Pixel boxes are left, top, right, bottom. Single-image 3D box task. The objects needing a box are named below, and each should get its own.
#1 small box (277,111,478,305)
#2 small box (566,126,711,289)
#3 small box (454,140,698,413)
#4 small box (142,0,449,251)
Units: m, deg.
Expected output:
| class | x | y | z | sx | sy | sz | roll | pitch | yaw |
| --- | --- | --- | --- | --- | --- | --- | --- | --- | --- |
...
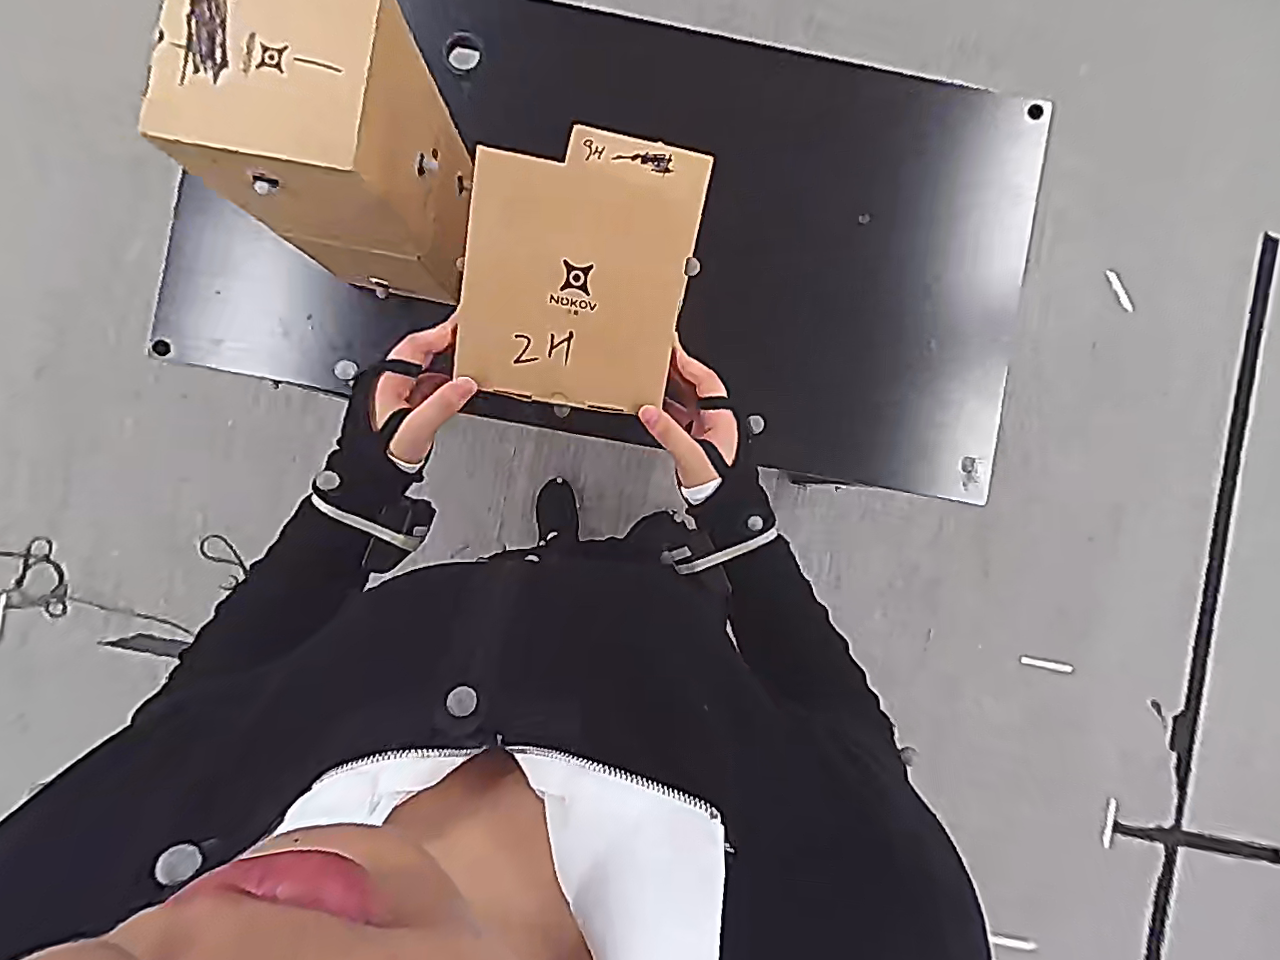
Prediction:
| class | x | y | z | sx | sy | sz | roll | pitch | yaw |
| --- | --- | --- | --- | --- | --- | --- | --- | --- | --- |
| small box | -0.313 | -0.345 | 0.685 | 0.168 | 0.176 | 0.179 | 10 | 90 | -1 |
| small box | -0.017 | -0.301 | 0.695 | 0.168 | 0.176 | 0.179 | 12 | 90 | -2 |
| small box | -0.057 | -0.162 | 0.490 | 0.168 | 0.176 | 0.179 | 9 | 98 | -7 |
| small box | -0.307 | -0.344 | 0.520 | 0.179 | 0.176 | 0.168 | 9 | 89 | -2 |
